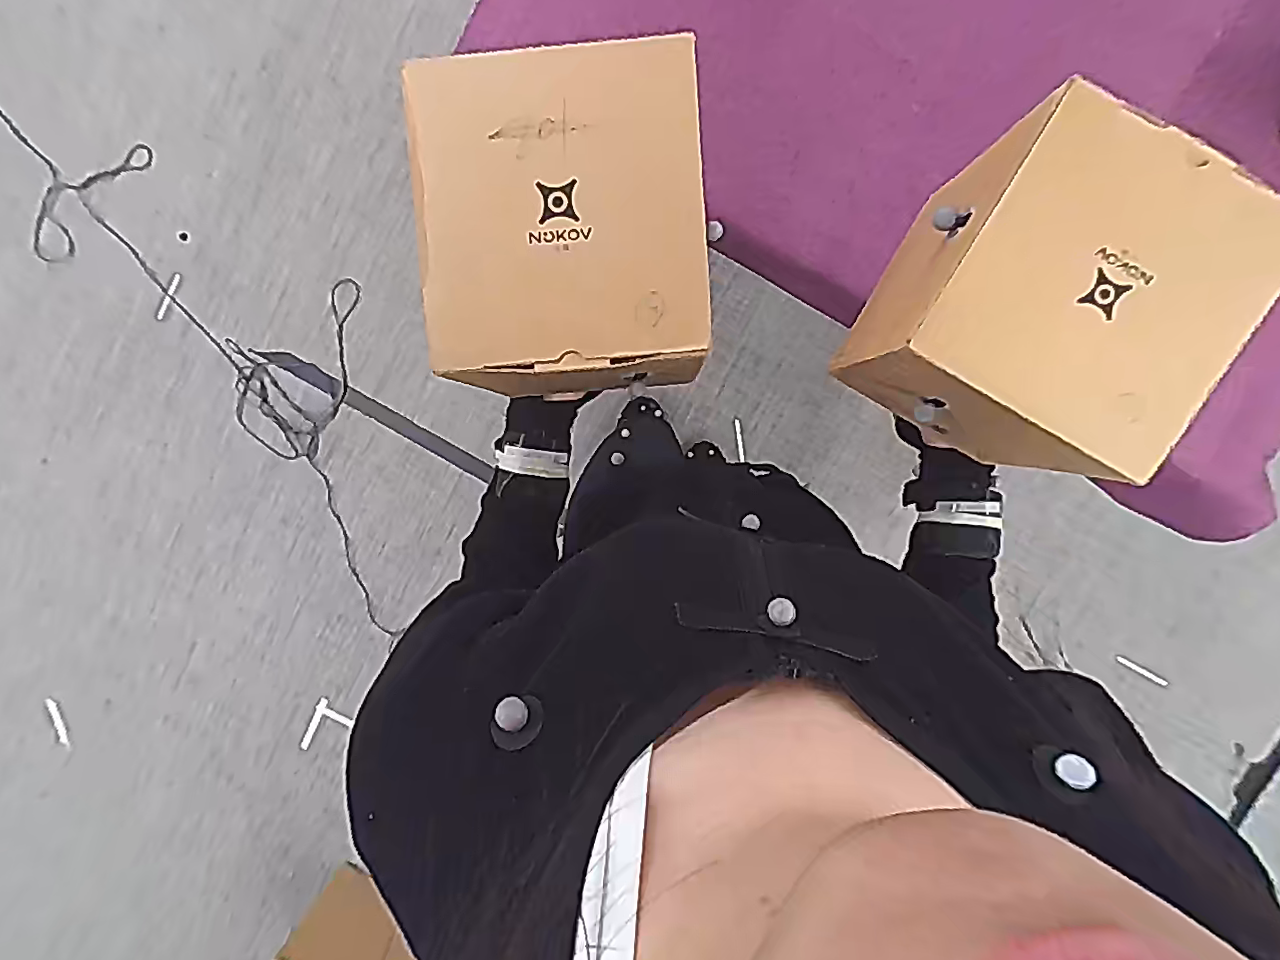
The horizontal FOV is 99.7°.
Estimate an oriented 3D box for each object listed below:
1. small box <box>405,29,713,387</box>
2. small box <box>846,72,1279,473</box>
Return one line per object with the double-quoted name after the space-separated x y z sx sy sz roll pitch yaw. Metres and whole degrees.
-0.042 -0.162 0.385 0.168 0.176 0.179 -5 94 1 "small box"
0.276 -0.124 0.392 0.168 0.176 0.179 30 95 0 "small box"
